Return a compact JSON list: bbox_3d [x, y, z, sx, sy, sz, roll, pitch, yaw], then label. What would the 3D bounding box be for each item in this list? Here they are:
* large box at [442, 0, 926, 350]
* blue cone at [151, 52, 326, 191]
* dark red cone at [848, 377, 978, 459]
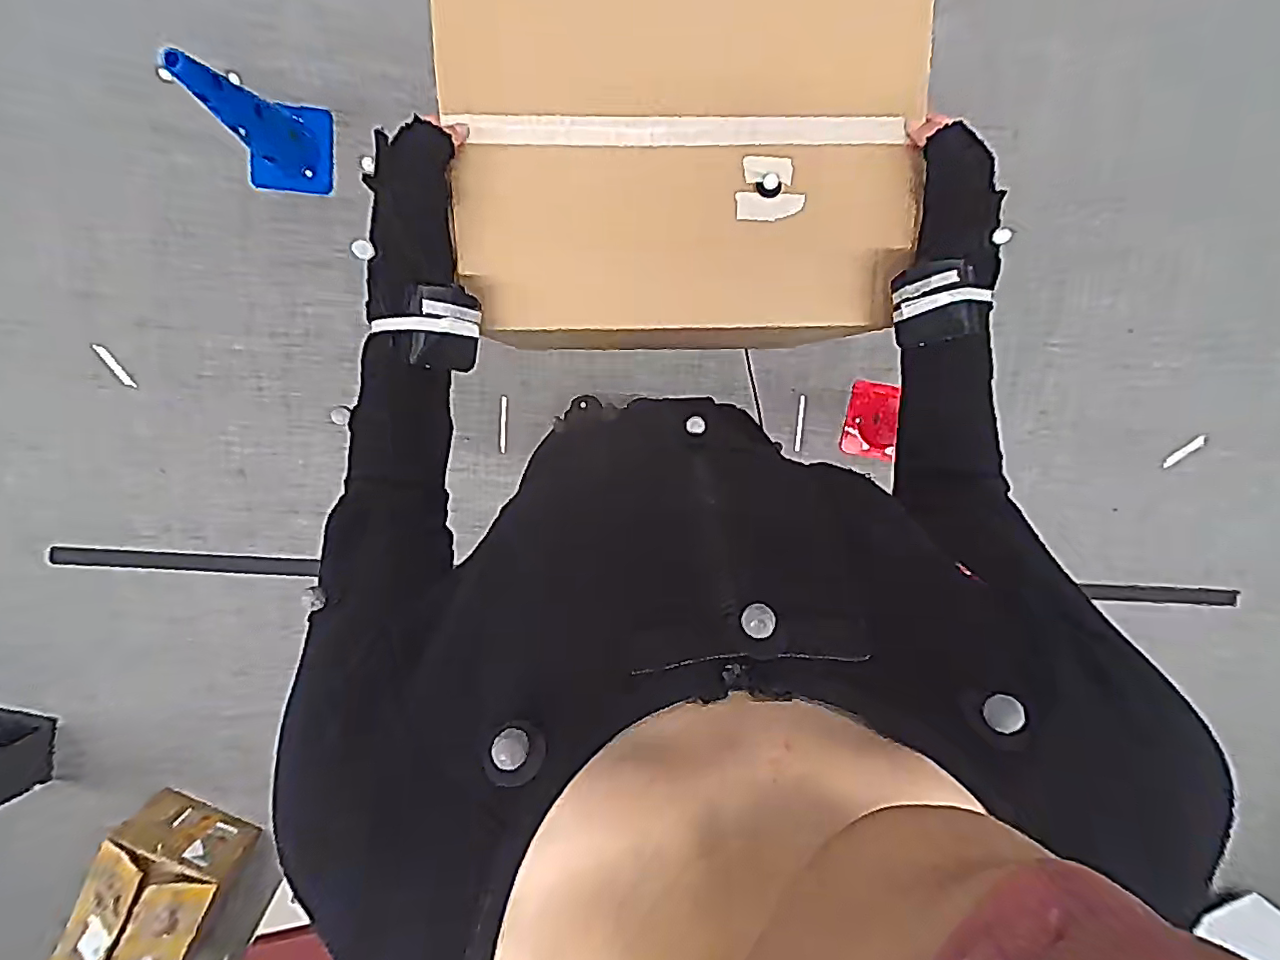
[{"bbox_3d":[0.031,-0.318,0.602,0.408,0.320,0.320,-1,101,-4],"label":"large box"},{"bbox_3d":[-0.871,-0.795,1.176,0.192,0.380,0.193,6,98,-1],"label":"blue cone"},{"bbox_3d":[0.661,-0.138,1.273,0.201,0.394,0.202,9,98,-2],"label":"dark red cone"}]
